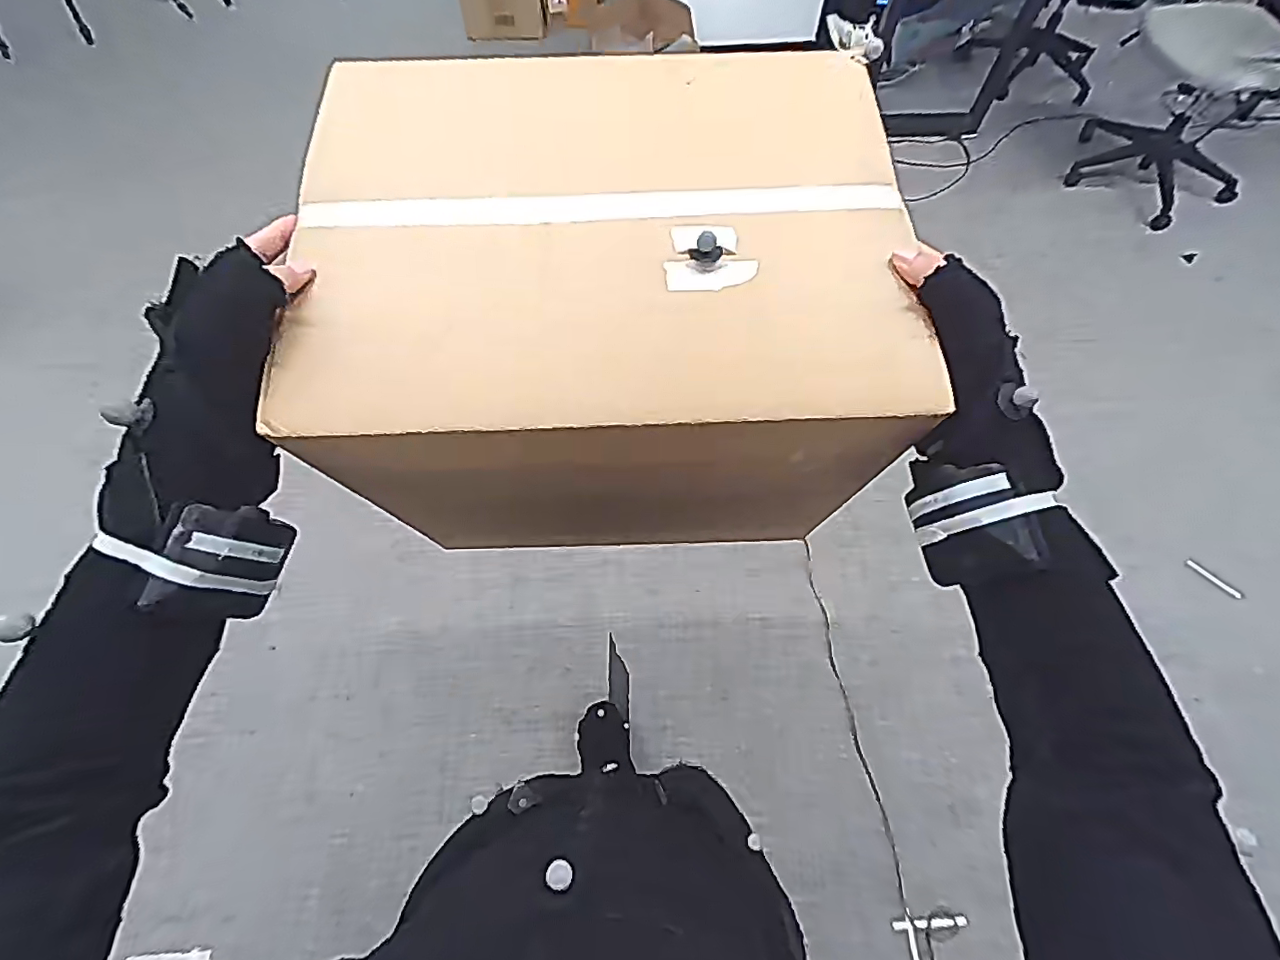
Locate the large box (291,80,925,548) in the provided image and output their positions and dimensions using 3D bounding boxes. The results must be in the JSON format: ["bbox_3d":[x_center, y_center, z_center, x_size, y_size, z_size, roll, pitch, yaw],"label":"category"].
[{"bbox_3d":[-0.026,-0.125,0.525,0.408,0.320,0.320,-2,70,-1],"label":"large box"}]
